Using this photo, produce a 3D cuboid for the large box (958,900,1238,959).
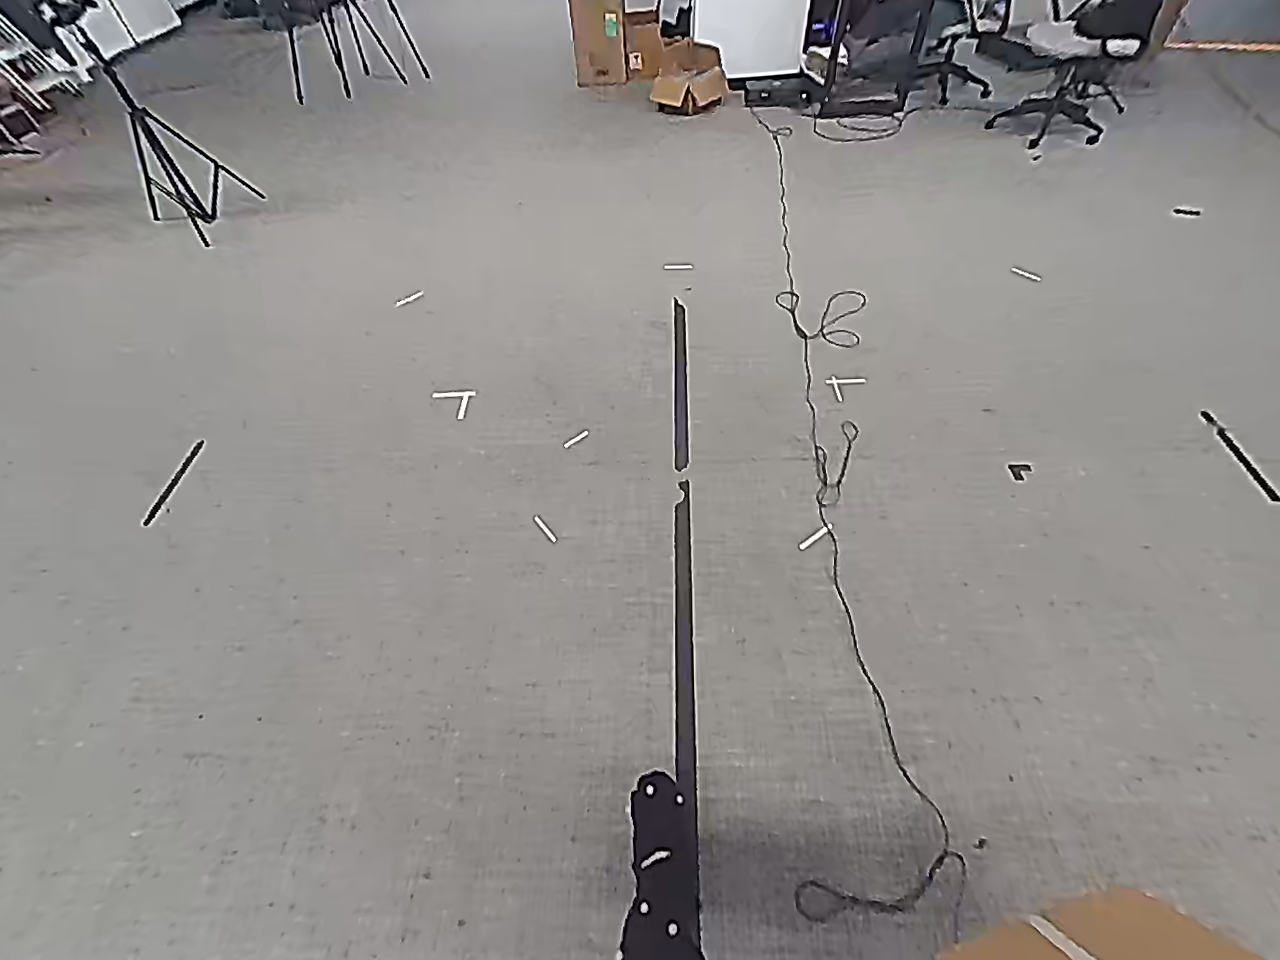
[{"bbox_3d":[0.612,0.740,0.552,0.320,0.408,0.320,-18,75,-4],"label":"large box"}]
